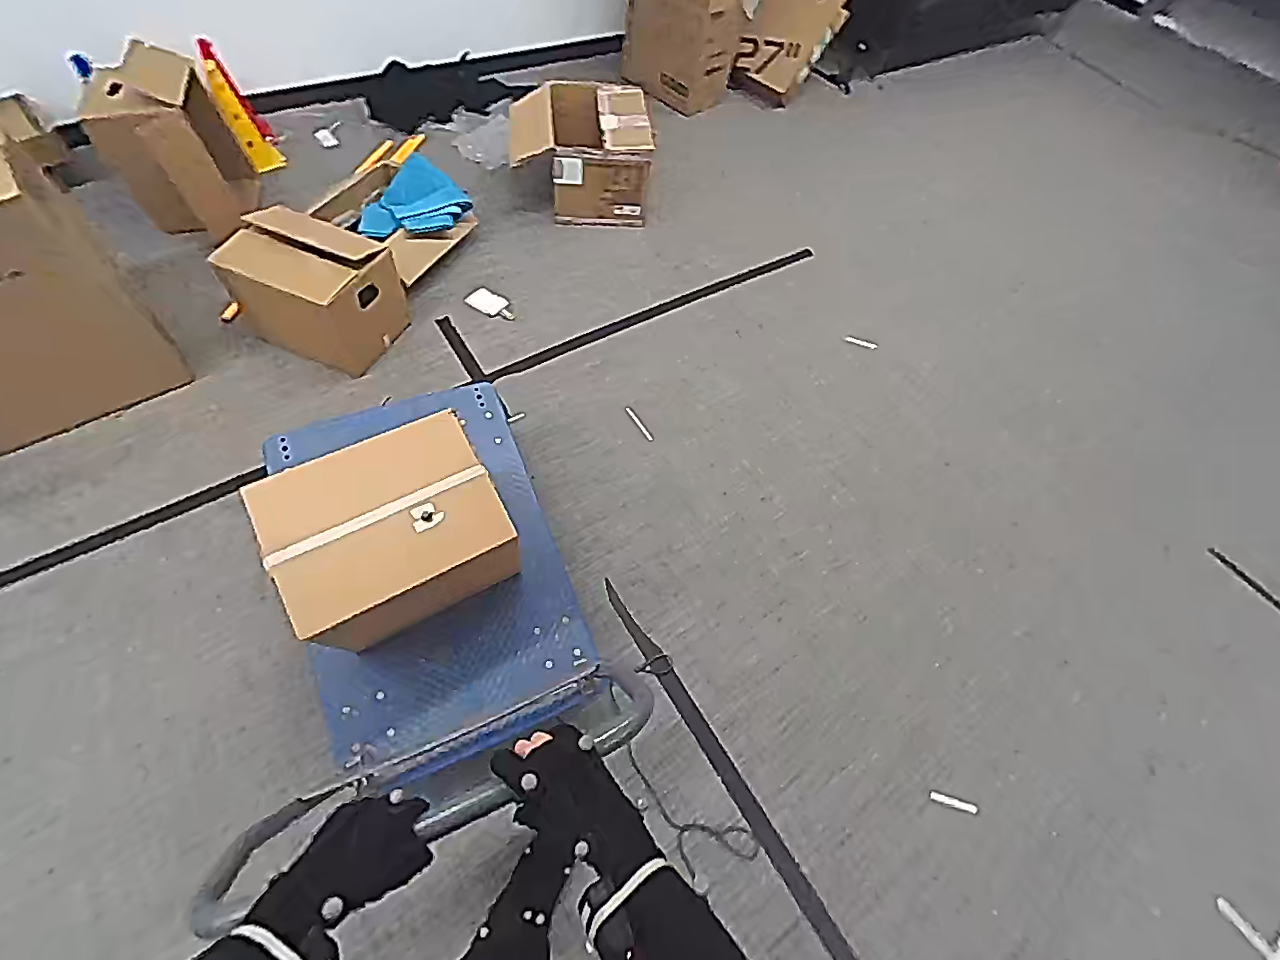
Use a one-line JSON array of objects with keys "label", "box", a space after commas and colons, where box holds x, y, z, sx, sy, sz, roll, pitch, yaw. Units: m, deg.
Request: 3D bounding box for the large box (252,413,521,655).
[{"label": "large box", "box": [-0.504, 0.123, 1.159, 0.408, 0.320, 0.320, -26, 75, -21]}]
